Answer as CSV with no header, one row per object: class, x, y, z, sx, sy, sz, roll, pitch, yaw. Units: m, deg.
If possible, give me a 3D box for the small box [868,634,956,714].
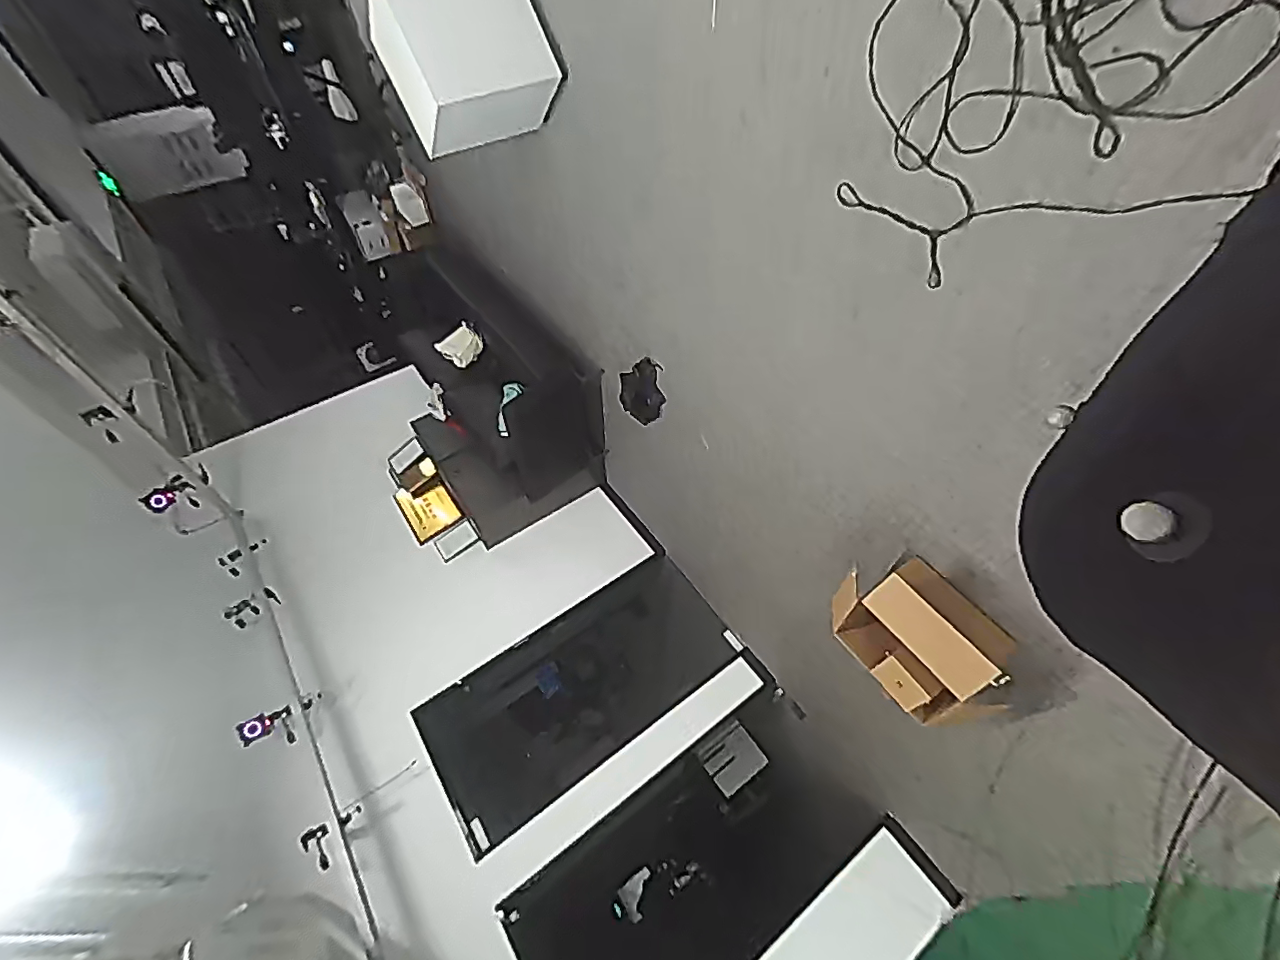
small box,0.913,0.650,1.815,0.168,0.176,0.179,51,154,27
